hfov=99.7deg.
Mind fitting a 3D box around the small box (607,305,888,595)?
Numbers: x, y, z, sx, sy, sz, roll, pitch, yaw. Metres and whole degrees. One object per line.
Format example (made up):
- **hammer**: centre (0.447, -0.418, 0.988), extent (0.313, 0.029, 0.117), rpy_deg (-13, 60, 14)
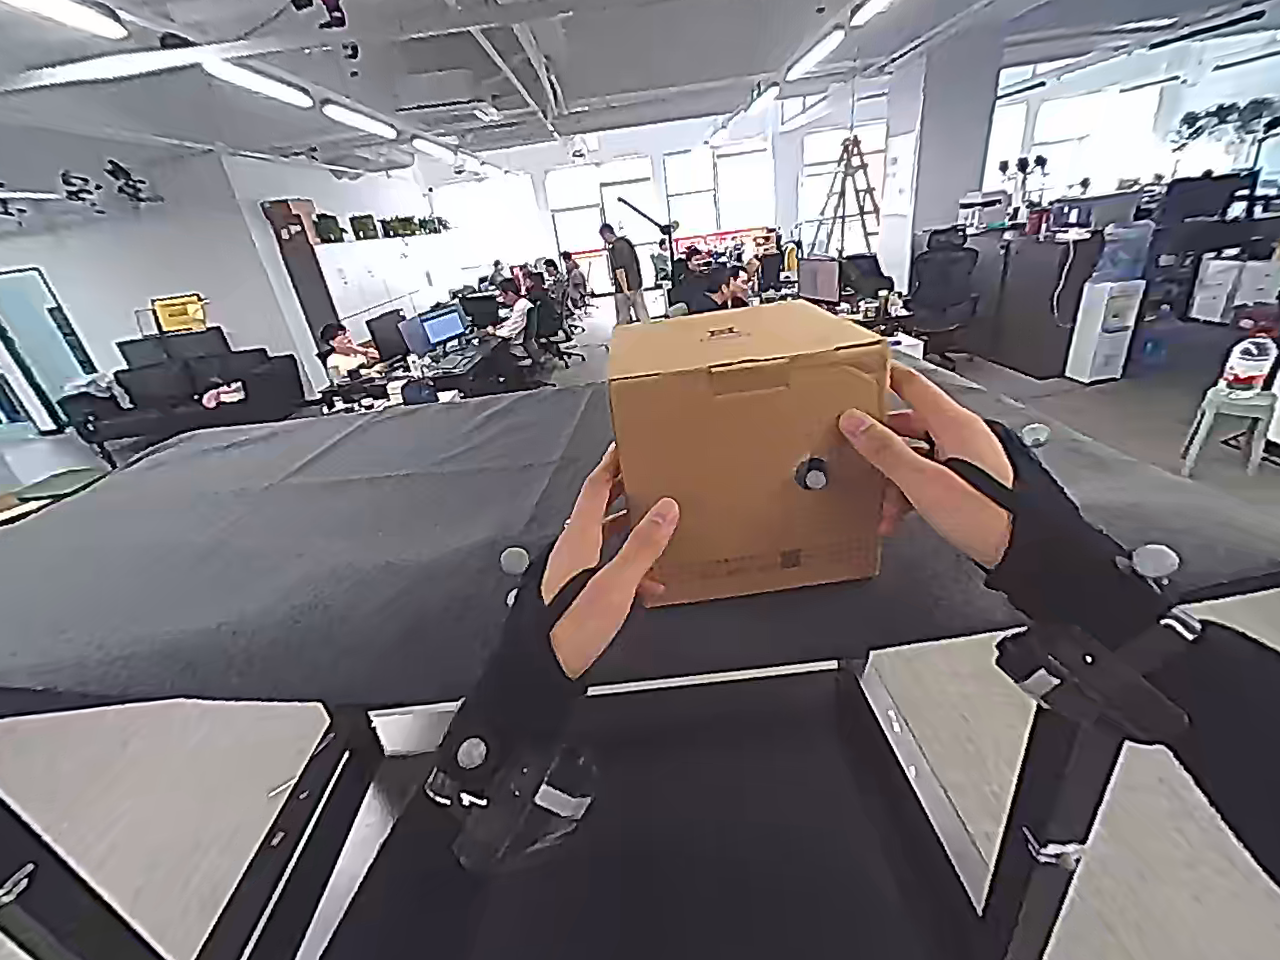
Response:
- **small box**: centre (0.070, -0.026, 0.415), extent (0.168, 0.176, 0.179), rpy_deg (-7, 25, 1)
